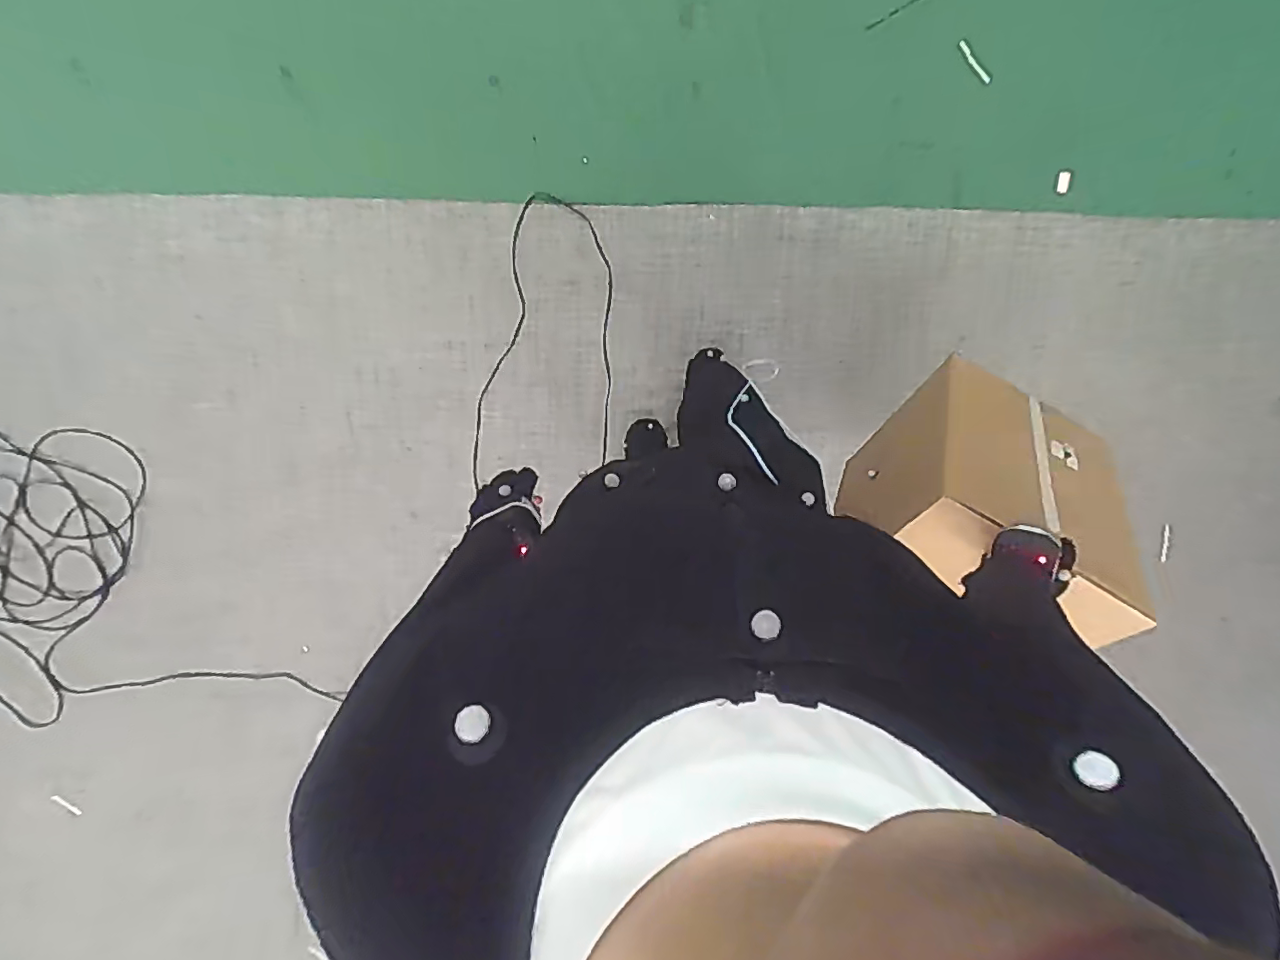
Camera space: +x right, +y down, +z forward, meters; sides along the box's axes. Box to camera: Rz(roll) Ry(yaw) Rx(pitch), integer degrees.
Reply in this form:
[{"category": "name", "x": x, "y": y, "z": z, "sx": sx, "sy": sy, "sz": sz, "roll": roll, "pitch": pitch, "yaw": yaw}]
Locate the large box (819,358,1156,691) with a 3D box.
[{"category": "large box", "x": 0.549, "y": 0.069, "z": 0.927, "sx": 0.320, "sy": 0.408, "sz": 0.320, "roll": 32, "pitch": 137, "yaw": 2}]
